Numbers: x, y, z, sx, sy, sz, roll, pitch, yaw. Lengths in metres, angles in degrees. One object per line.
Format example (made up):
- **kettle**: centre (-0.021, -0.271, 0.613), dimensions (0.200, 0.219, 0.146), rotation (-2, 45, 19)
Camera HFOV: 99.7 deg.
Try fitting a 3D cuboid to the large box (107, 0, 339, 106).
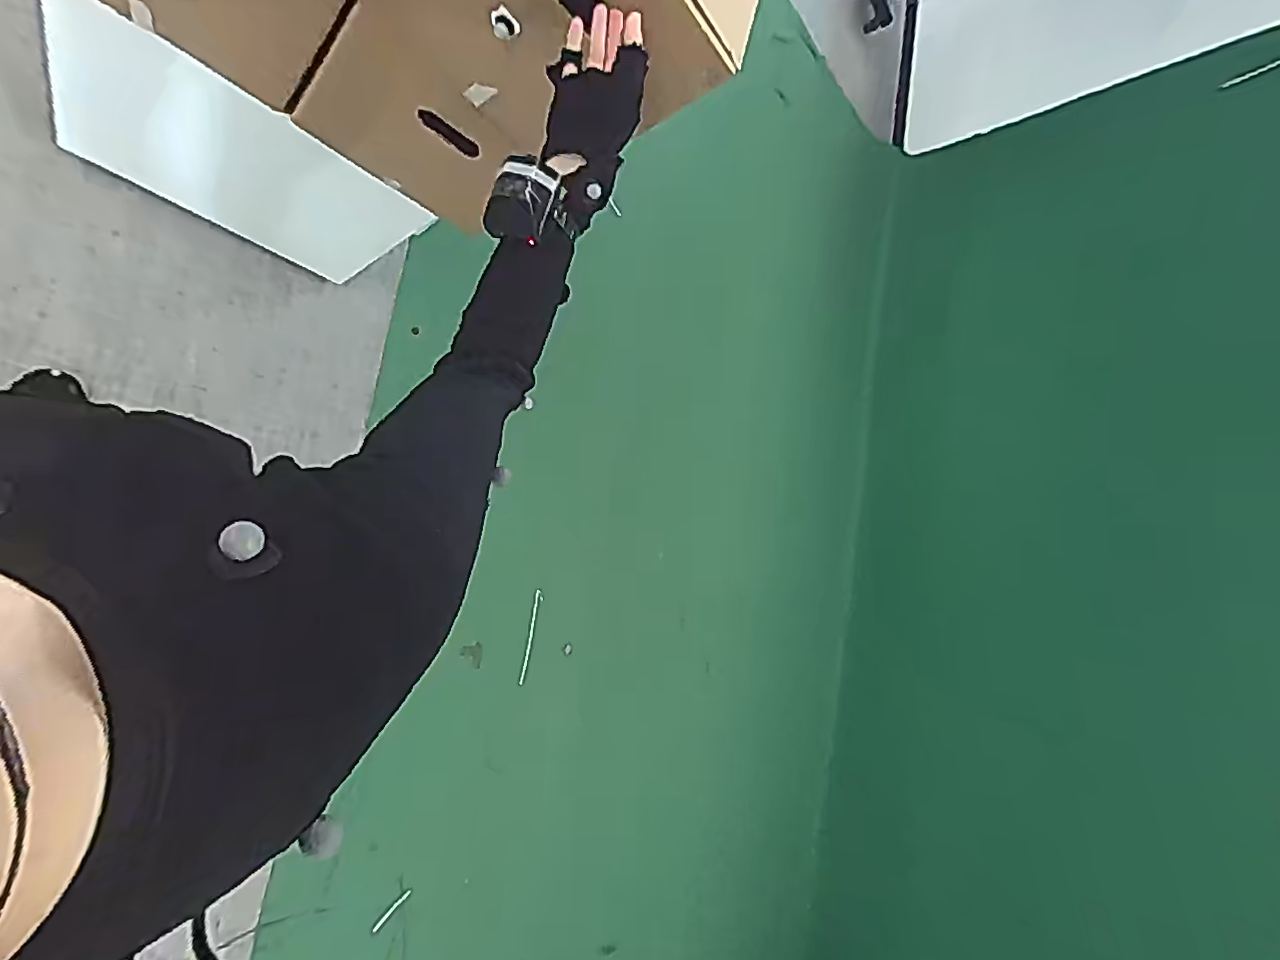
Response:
- **large box**: centre (-0.487, -0.764, 0.614), dimensions (0.320, 0.320, 0.408), rotation (21, 76, -44)
